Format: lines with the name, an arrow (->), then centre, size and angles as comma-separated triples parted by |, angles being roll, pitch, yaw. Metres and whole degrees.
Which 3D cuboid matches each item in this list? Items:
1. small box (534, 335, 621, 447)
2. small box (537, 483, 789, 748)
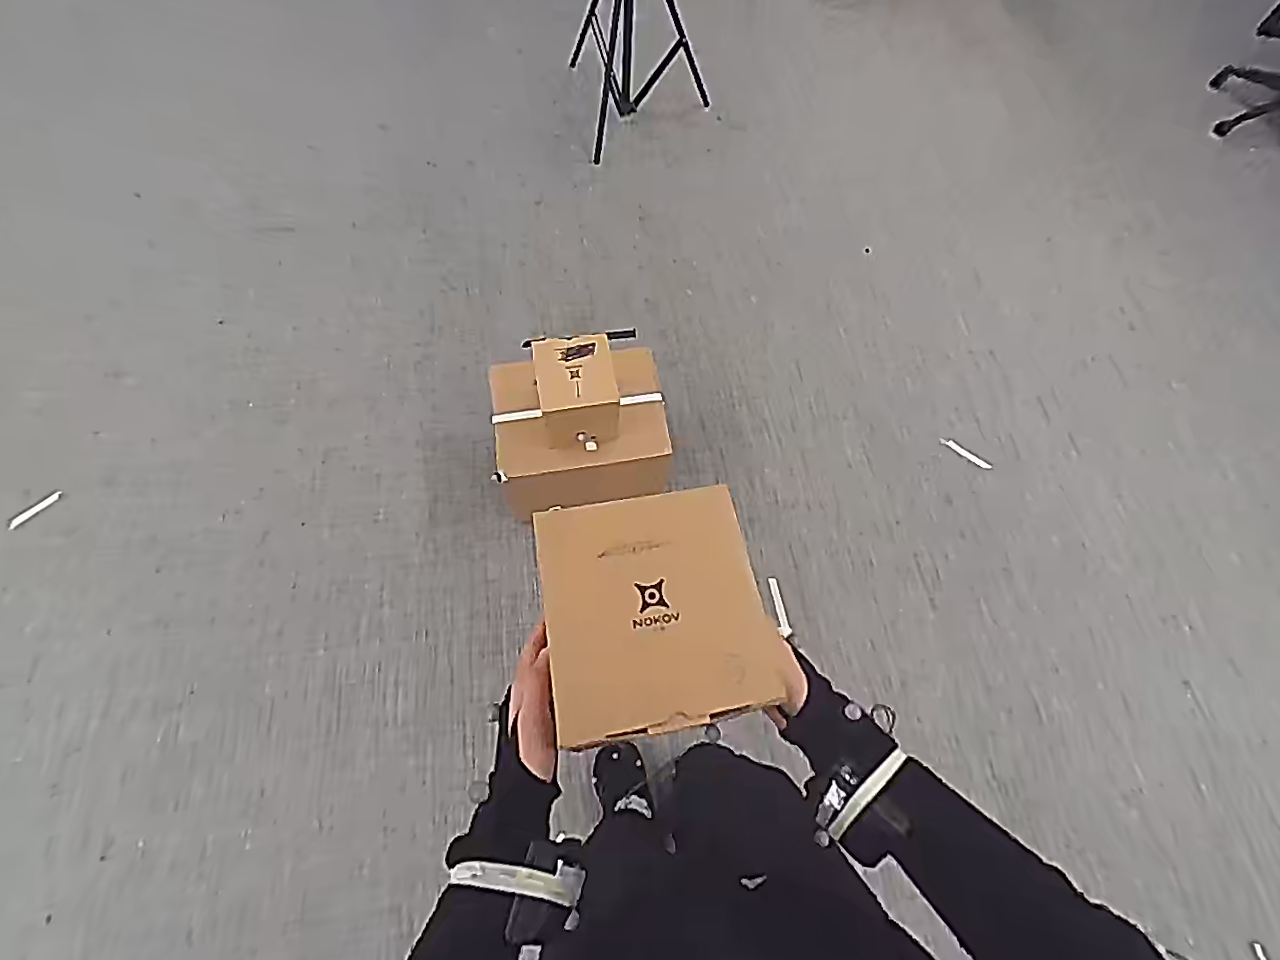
small box -> -0.139, -0.195, 1.206 | 0.168, 0.176, 0.179 | -9, 69, -7
small box -> 0.007, 0.125, 0.480 | 0.168, 0.176, 0.179 | -9, 65, -10
